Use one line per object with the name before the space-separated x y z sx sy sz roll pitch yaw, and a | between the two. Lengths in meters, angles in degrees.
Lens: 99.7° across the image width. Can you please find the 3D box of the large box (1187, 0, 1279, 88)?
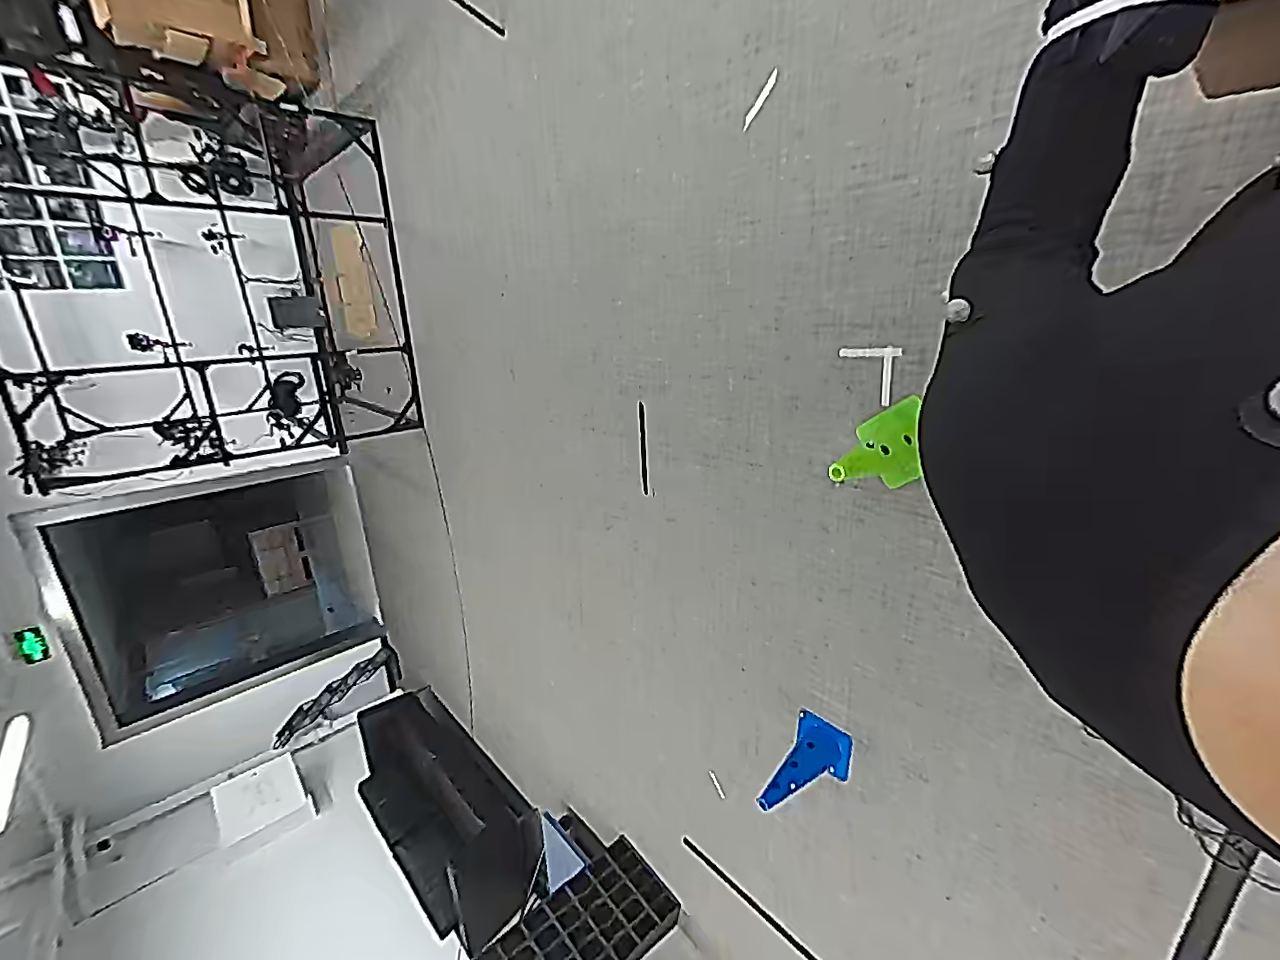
large box | 0.570 -0.442 0.246 0.408 0.320 0.320 18 119 43

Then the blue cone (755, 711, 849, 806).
blue cone | 0.523 0.971 1.811 0.192 0.380 0.193 22 119 45

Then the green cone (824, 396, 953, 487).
green cone | 0.576 -0.060 1.347 0.202 0.368 0.200 -40 72 50
